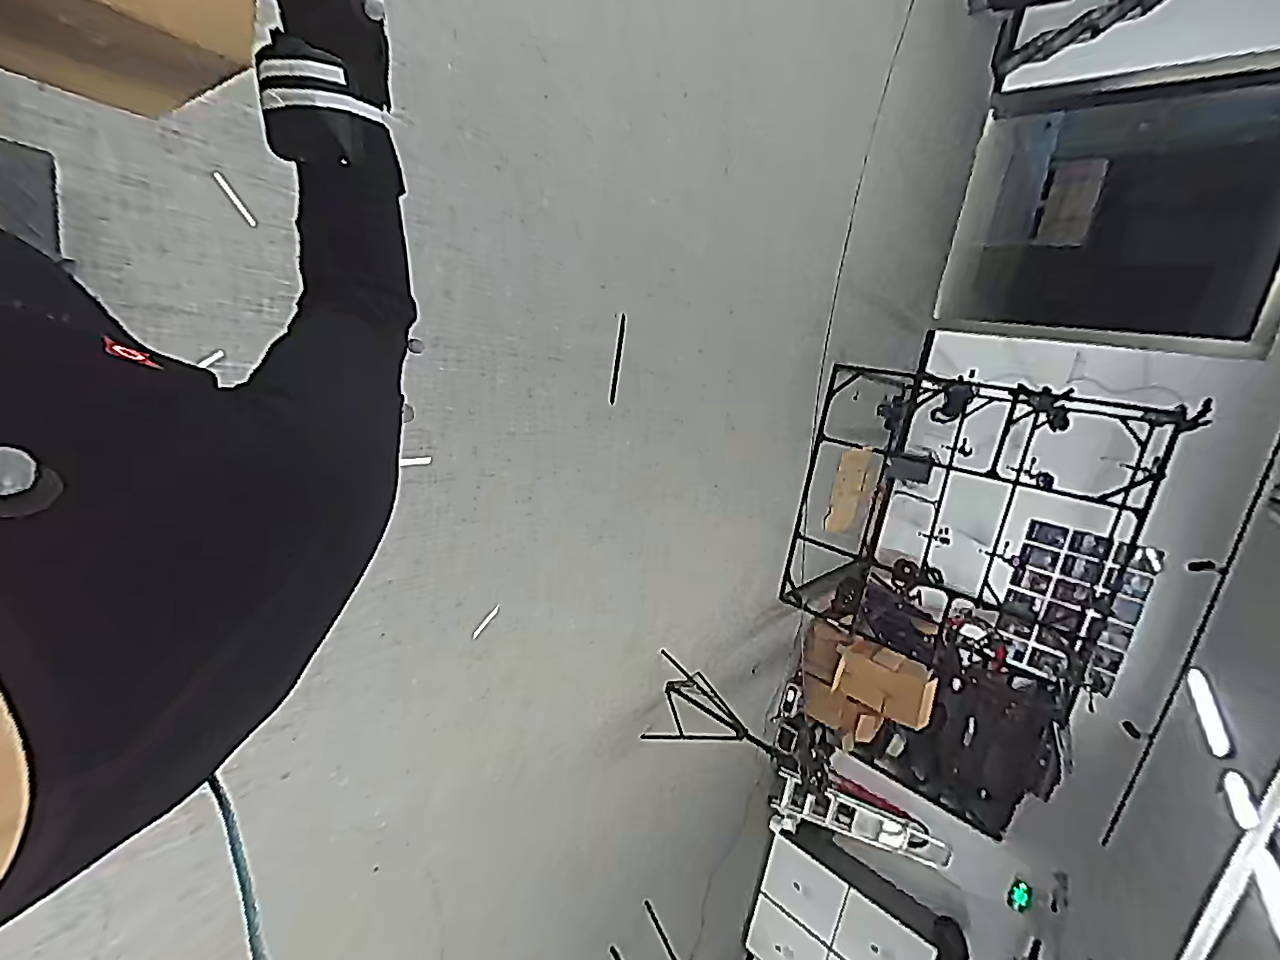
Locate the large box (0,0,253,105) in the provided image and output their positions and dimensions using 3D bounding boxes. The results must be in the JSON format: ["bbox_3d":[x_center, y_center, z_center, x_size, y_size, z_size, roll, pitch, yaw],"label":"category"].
[{"bbox_3d":[-0.470,-0.452,0.258,0.408,0.320,0.320,-6,113,-50],"label":"large box"}]
